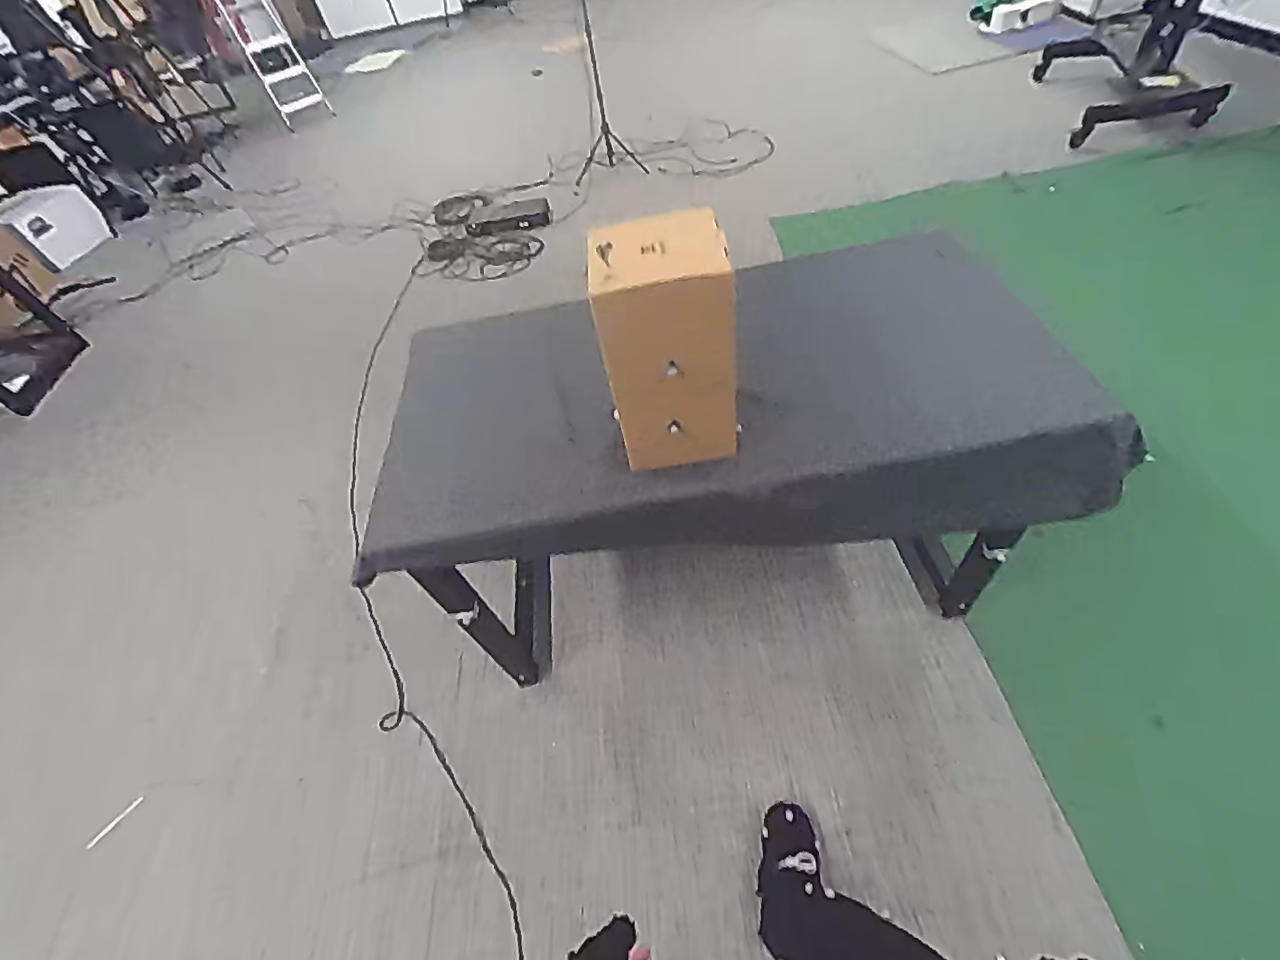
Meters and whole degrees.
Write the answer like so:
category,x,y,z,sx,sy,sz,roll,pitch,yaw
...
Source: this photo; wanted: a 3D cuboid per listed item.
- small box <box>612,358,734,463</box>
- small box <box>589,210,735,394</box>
category,x,y,z,sx,sy,sz,roll,pitch,yaw
small box,0.056,-0.146,0.878,0.179,0.176,0.168,-6,49,6
small box,0.032,-0.242,0.750,0.179,0.176,0.168,-8,50,4
